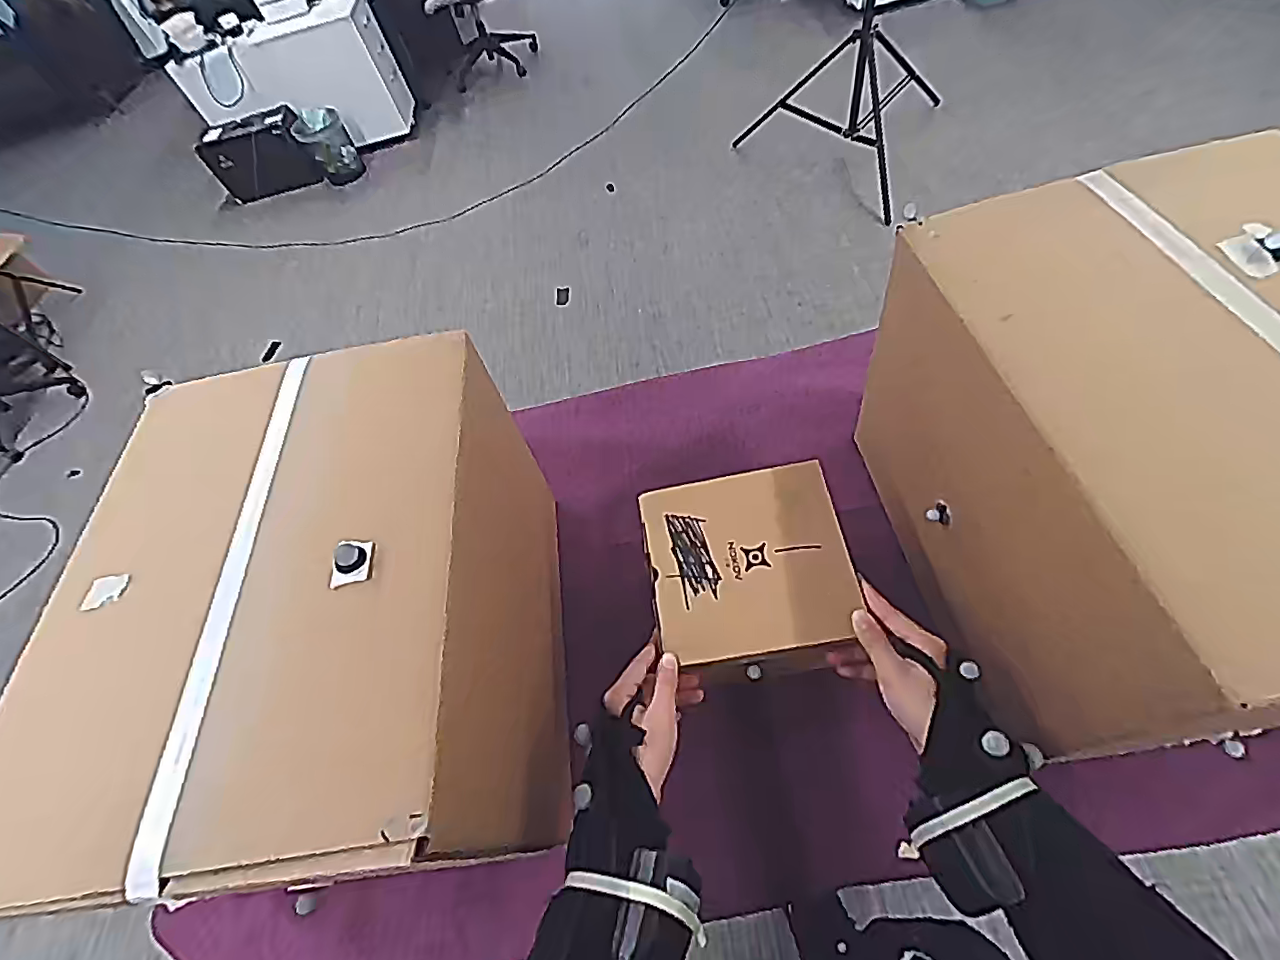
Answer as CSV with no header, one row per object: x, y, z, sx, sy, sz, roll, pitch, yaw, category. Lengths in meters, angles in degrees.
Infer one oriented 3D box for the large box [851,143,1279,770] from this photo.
0.422,-0.009,0.474,0.320,0.320,0.408,-12,55,4,large box
